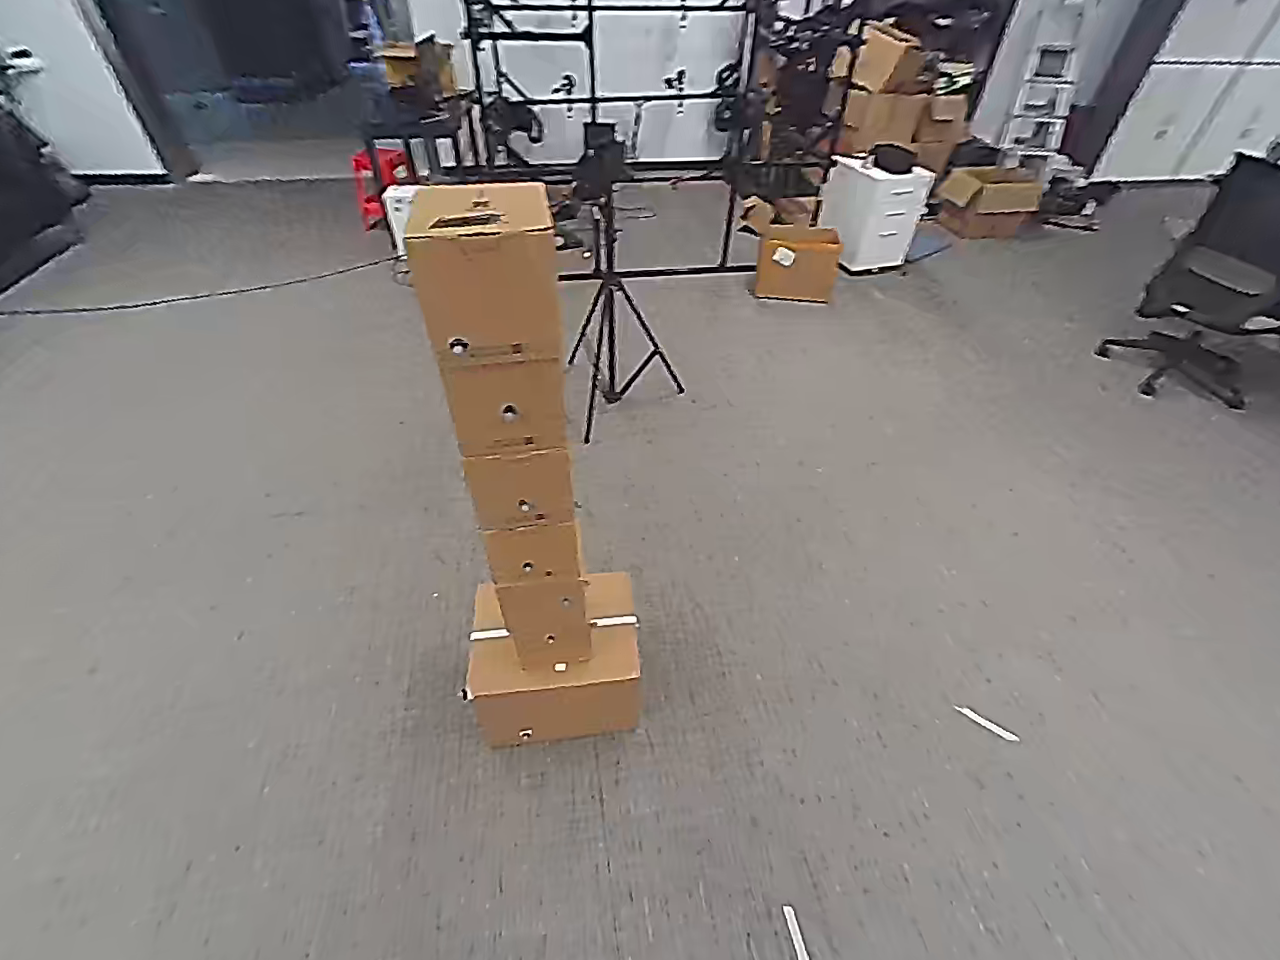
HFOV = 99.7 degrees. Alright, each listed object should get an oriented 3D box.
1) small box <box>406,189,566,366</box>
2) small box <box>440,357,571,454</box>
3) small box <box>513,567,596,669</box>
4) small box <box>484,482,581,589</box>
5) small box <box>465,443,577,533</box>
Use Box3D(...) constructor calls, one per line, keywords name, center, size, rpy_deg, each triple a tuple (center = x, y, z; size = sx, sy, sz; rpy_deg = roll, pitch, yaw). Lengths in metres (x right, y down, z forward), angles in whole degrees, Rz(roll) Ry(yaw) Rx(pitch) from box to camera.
Box3D(name="small box", center=(-0.192, -0.263, 0.715), size=(0.168, 0.176, 0.179), rpy_deg=(-7, 45, -9))
Box3D(name="small box", center=(-0.200, -0.153, 0.837), size=(0.168, 0.176, 0.179), rpy_deg=(-7, 46, -9))
Box3D(name="small box", center=(-0.201, 0.330, 1.280), size=(0.179, 0.176, 0.168), rpy_deg=(-5, 45, -8))
Box3D(name="small box", center=(-0.205, 0.088, 1.060), size=(0.168, 0.176, 0.179), rpy_deg=(-6, 45, -7))
Box3D(name="small box", center=(-0.203, -0.032, 0.948), size=(0.168, 0.176, 0.179), rpy_deg=(-7, 46, -8))
